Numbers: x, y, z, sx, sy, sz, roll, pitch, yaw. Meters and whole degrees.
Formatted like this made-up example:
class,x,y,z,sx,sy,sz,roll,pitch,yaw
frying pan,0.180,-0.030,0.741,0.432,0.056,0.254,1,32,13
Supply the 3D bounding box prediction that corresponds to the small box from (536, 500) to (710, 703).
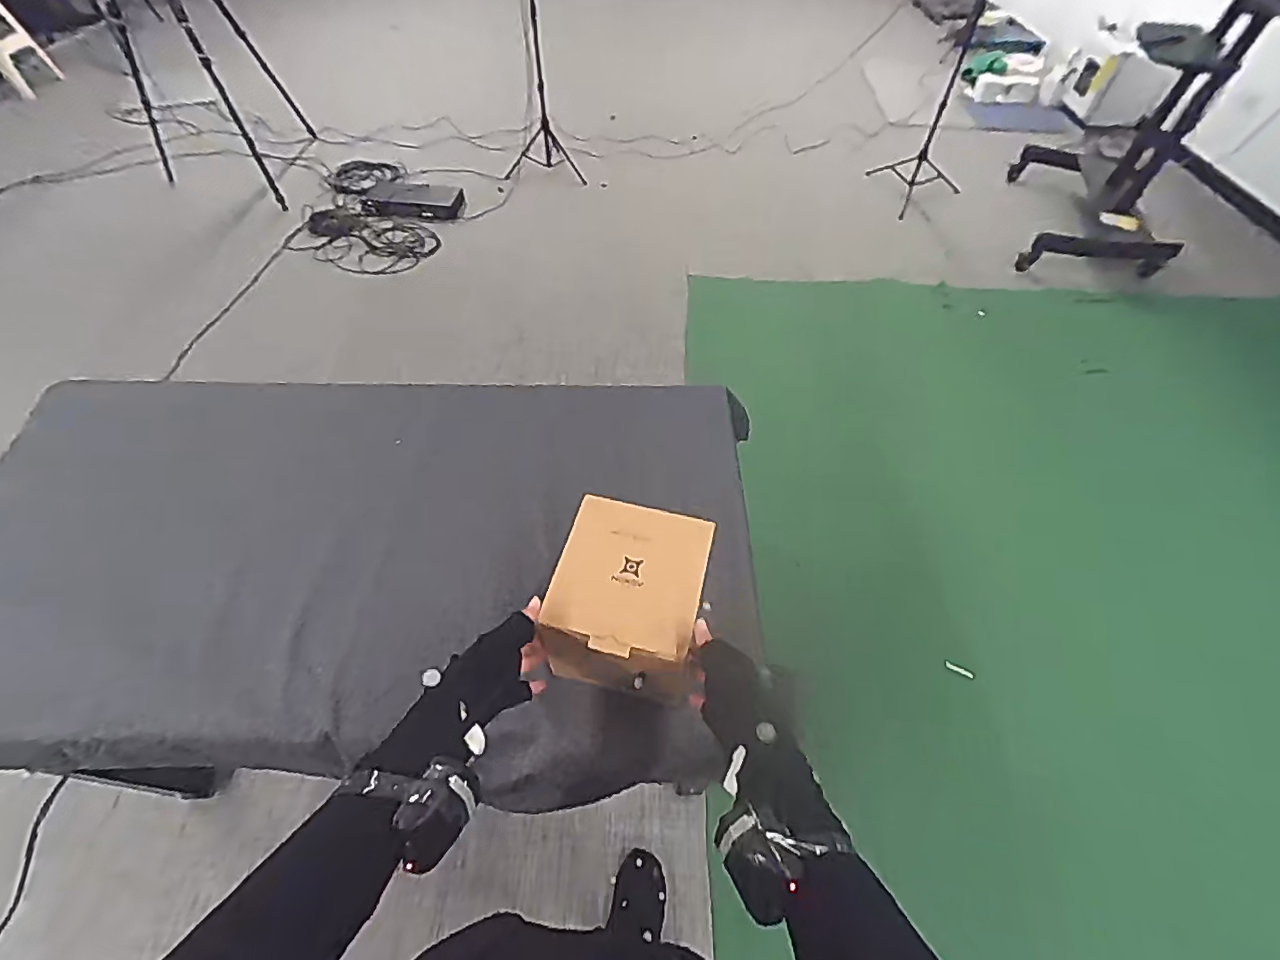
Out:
class,x,y,z,sx,sy,sz,roll,pitch,yaw
small box,-0.015,0.156,0.676,0.168,0.176,0.179,12,52,7
